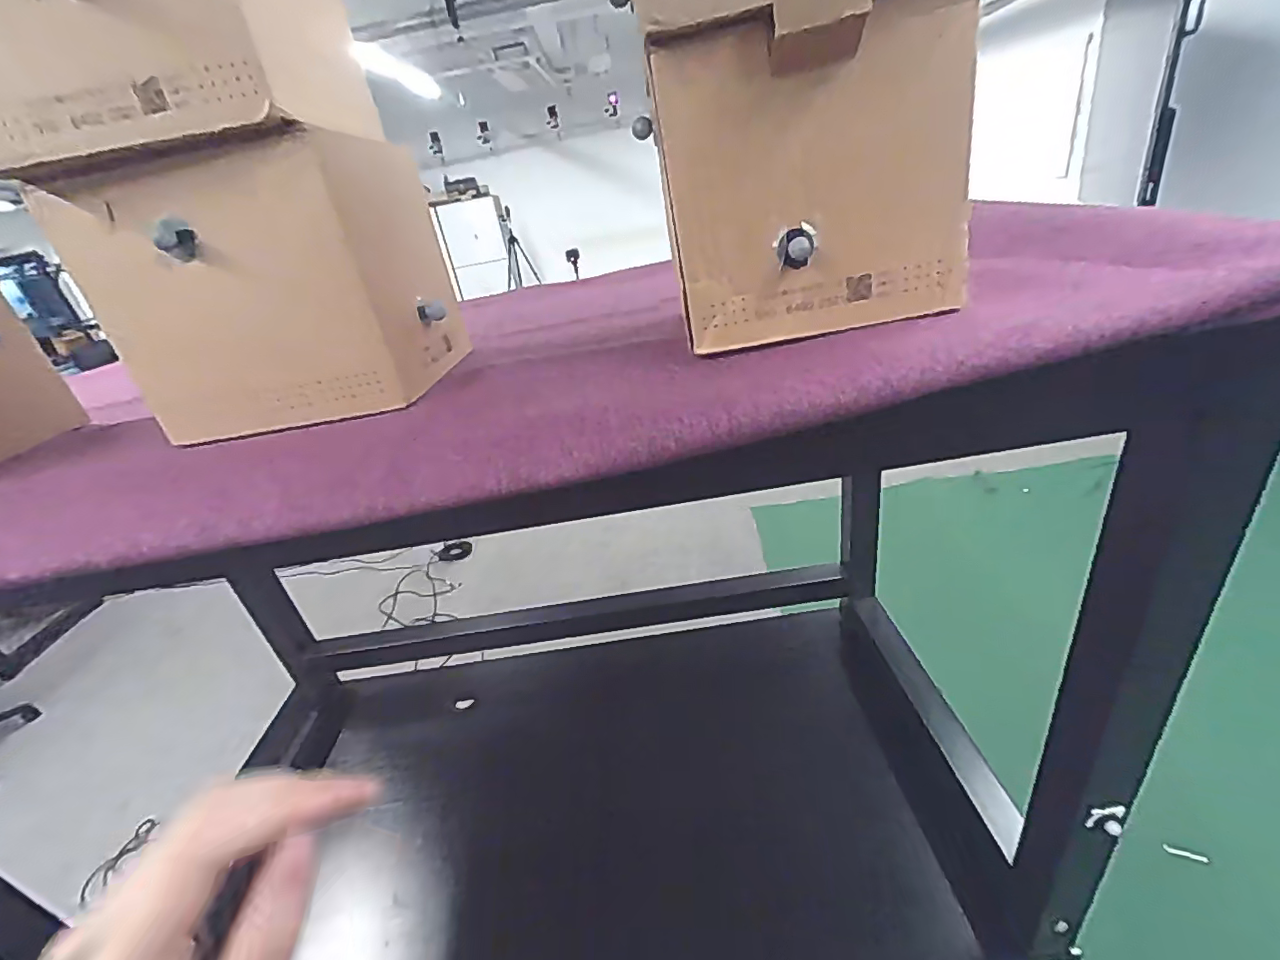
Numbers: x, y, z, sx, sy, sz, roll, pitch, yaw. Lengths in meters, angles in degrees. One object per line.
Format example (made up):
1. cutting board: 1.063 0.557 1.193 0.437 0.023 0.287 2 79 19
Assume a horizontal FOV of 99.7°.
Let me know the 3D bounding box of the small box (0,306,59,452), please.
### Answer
1. small box: -0.600 -0.074 0.389 0.168 0.176 0.179 -12 29 0

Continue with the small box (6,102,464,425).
1. small box: -0.258 -0.150 0.401 0.179 0.176 0.168 -9 27 4

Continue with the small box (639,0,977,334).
1. small box: 0.097 -0.207 0.372 0.168 0.176 0.179 -9 26 6

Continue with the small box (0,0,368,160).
1. small box: -0.292 -0.287 0.317 0.168 0.176 0.179 -11 27 -1
